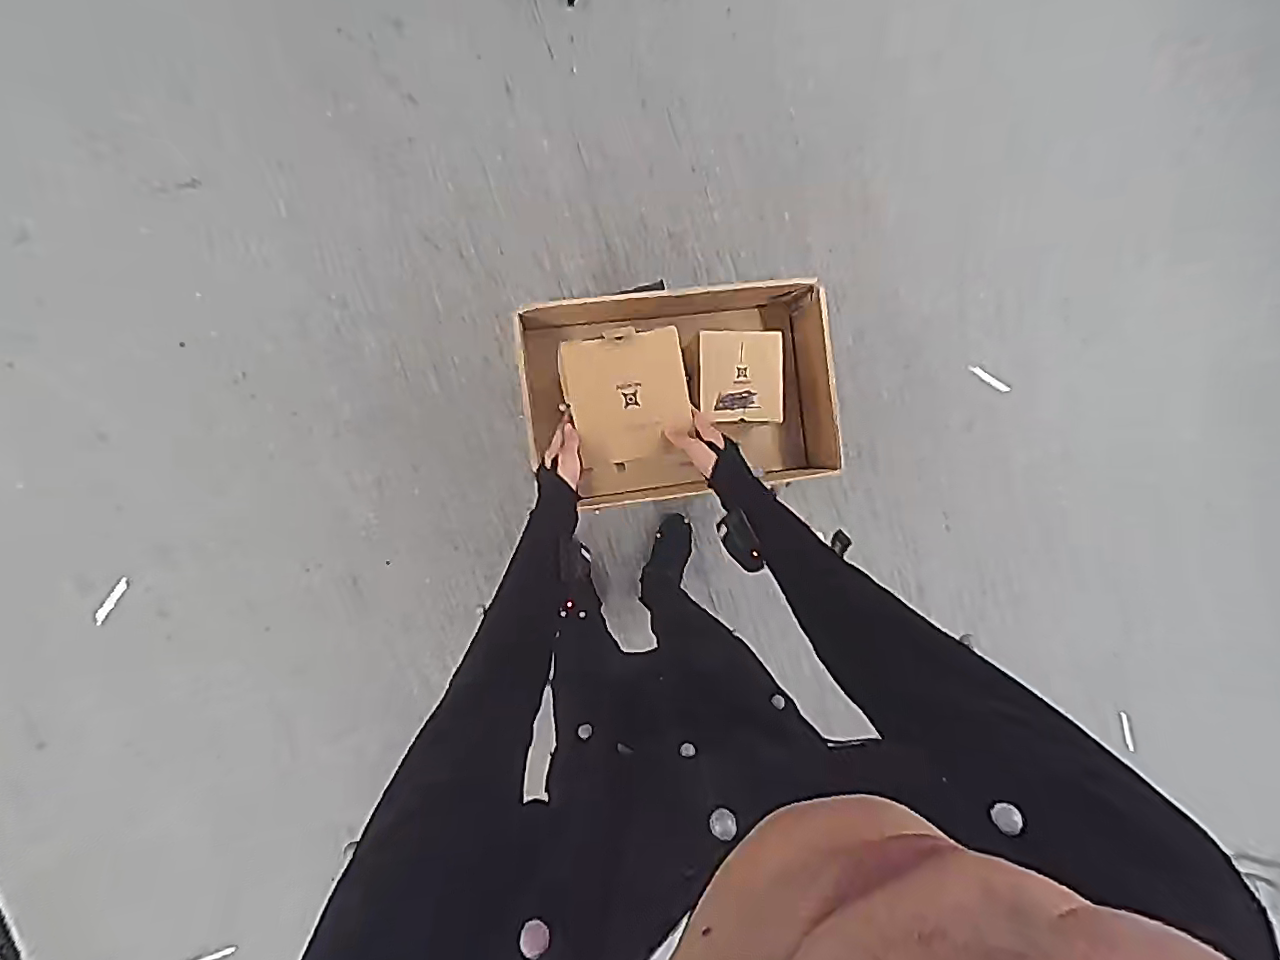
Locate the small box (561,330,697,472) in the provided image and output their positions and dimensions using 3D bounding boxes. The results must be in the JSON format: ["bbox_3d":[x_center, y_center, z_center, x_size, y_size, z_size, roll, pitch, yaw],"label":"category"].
[{"bbox_3d":[-0.025,-0.111,0.817,0.168,0.176,0.179,-11,93,-8],"label":"small box"}]
